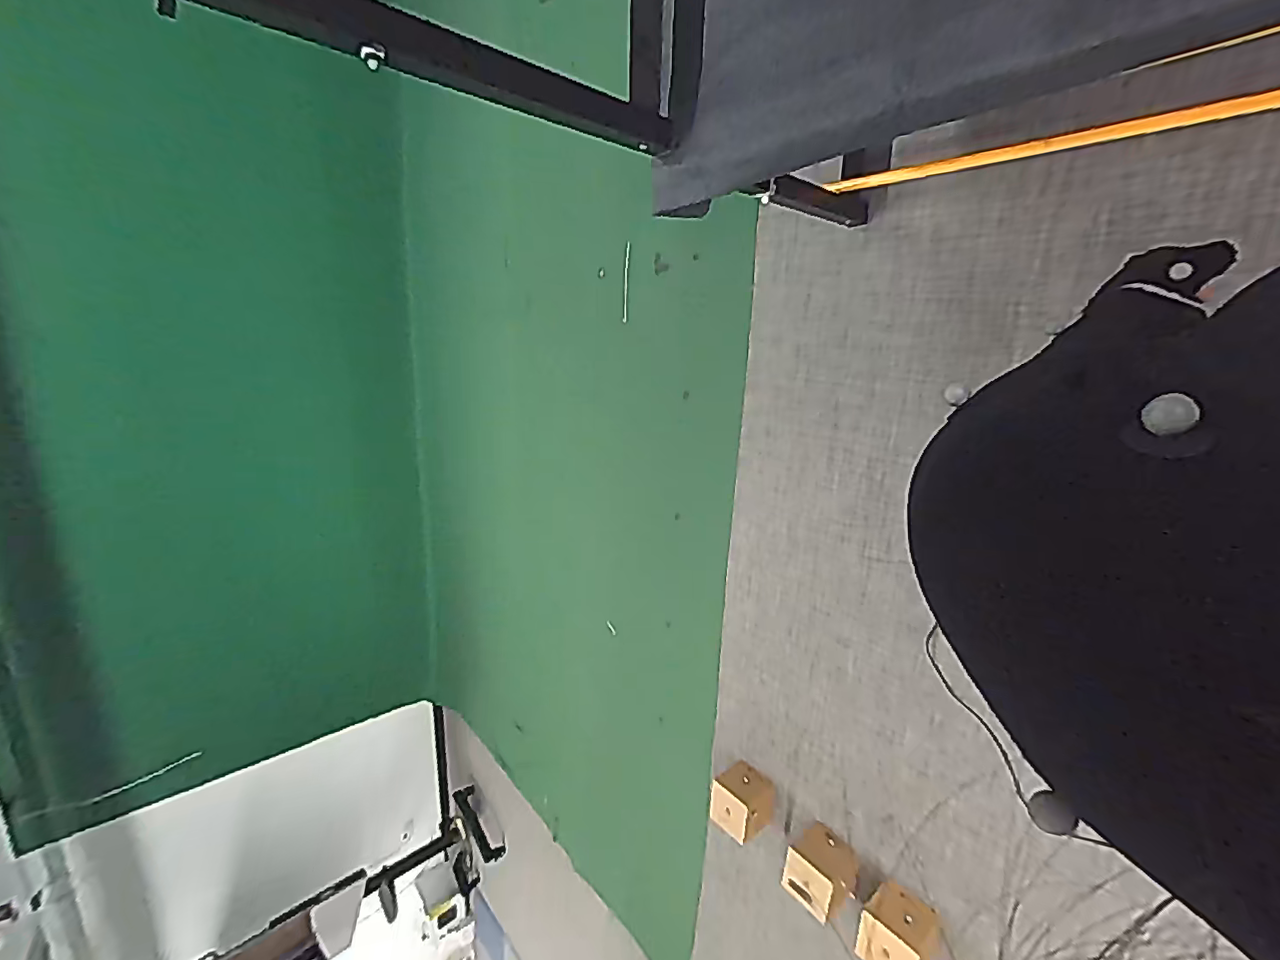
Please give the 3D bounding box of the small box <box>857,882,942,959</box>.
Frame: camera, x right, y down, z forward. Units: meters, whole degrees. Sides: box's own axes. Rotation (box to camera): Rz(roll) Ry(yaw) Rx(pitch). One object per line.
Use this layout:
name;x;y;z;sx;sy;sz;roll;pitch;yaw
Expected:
small box;0.772;1.355;1.602;0.168;0.176;0.179;18;111;46

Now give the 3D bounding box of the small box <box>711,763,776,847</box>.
small box;0.389;1.207;2.025;0.168;0.176;0.179;19;111;47
